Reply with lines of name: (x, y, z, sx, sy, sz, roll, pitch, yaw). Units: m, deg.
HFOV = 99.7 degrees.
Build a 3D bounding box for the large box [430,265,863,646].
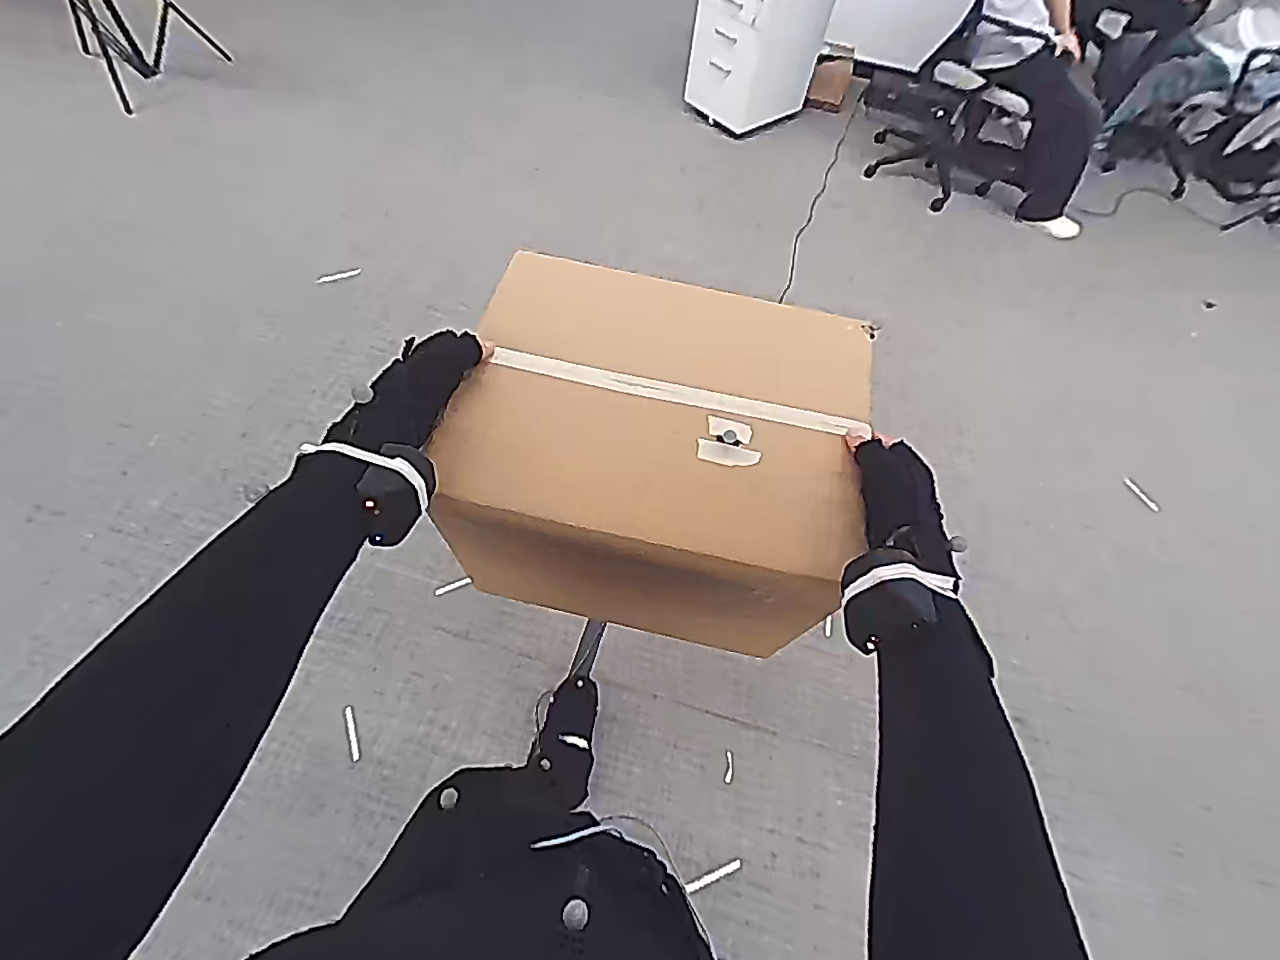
large box: (0.017, -0.012, 0.683, 0.408, 0.320, 0.320, 13, 62, 2)
